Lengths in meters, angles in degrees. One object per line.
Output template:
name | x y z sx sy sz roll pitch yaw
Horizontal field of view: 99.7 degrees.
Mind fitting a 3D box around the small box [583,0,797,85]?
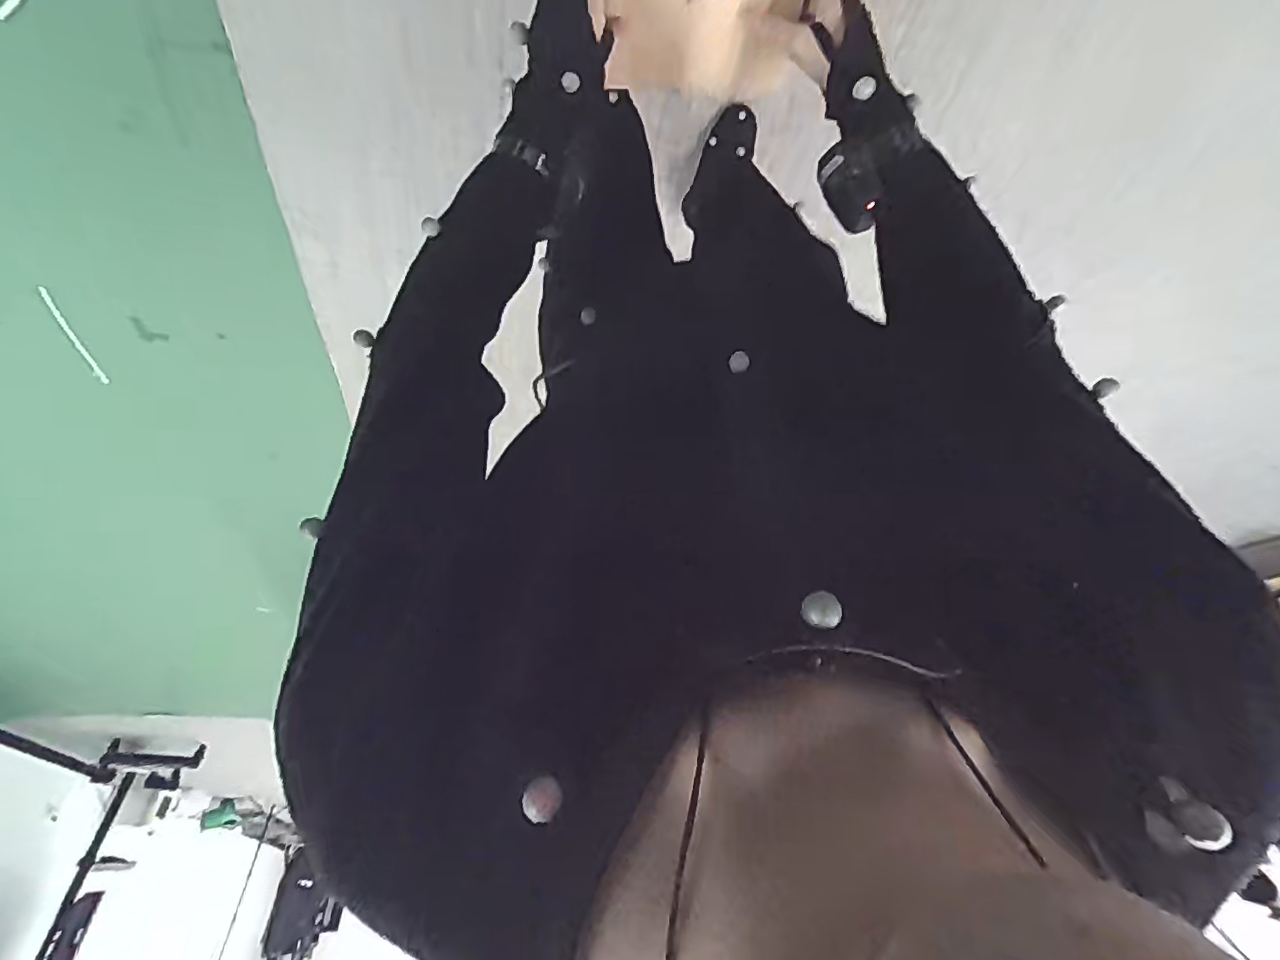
small box | 0.041 -0.483 0.478 0.179 0.176 0.168 -4 149 -7
